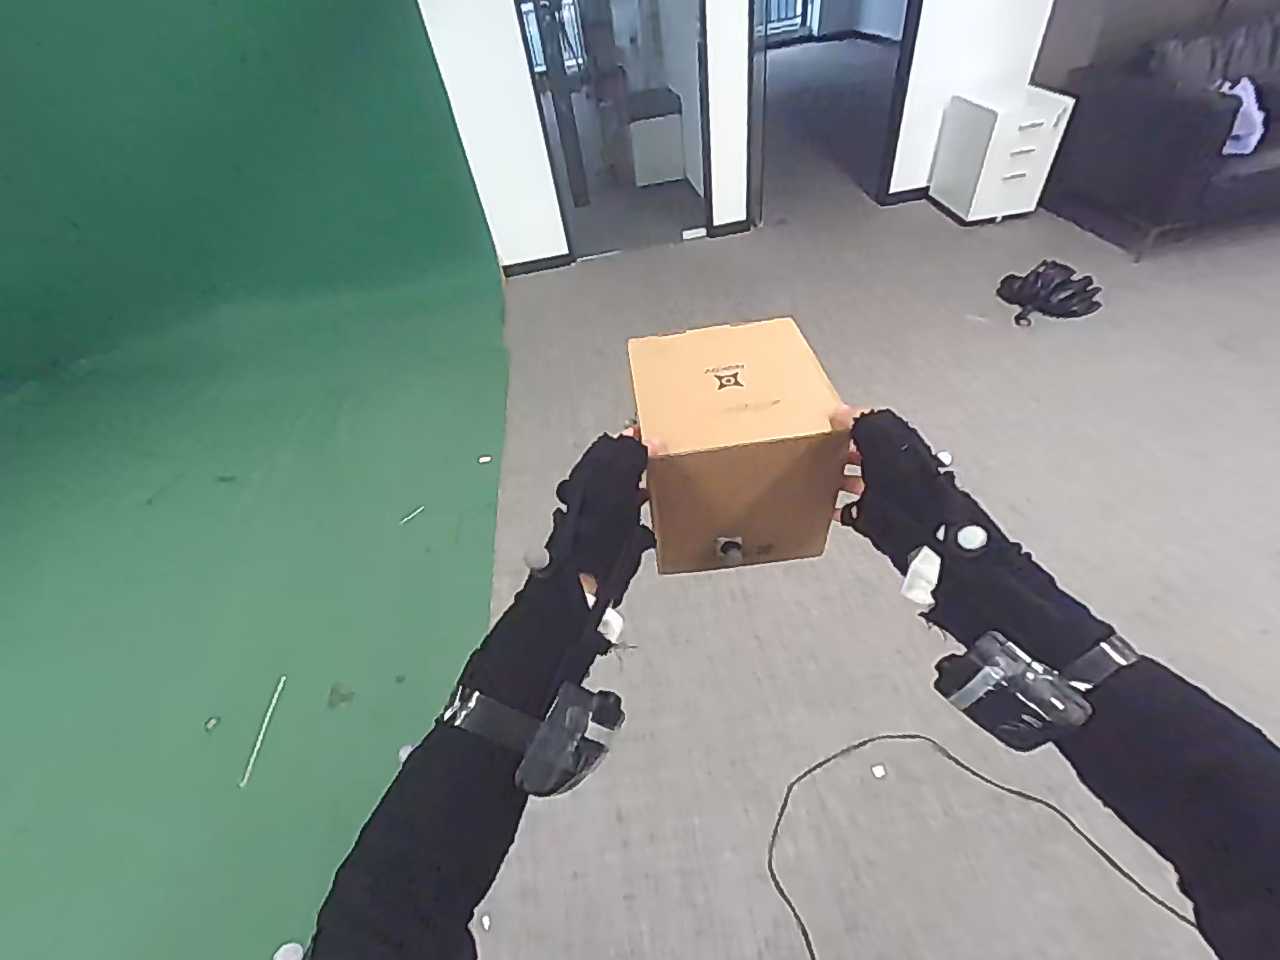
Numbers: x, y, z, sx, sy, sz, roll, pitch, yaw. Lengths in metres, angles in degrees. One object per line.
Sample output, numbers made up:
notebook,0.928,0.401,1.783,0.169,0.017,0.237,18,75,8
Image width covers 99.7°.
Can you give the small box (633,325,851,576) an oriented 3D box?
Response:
small box,0.086,-0.029,0.540,0.168,0.176,0.179,-8,45,0
